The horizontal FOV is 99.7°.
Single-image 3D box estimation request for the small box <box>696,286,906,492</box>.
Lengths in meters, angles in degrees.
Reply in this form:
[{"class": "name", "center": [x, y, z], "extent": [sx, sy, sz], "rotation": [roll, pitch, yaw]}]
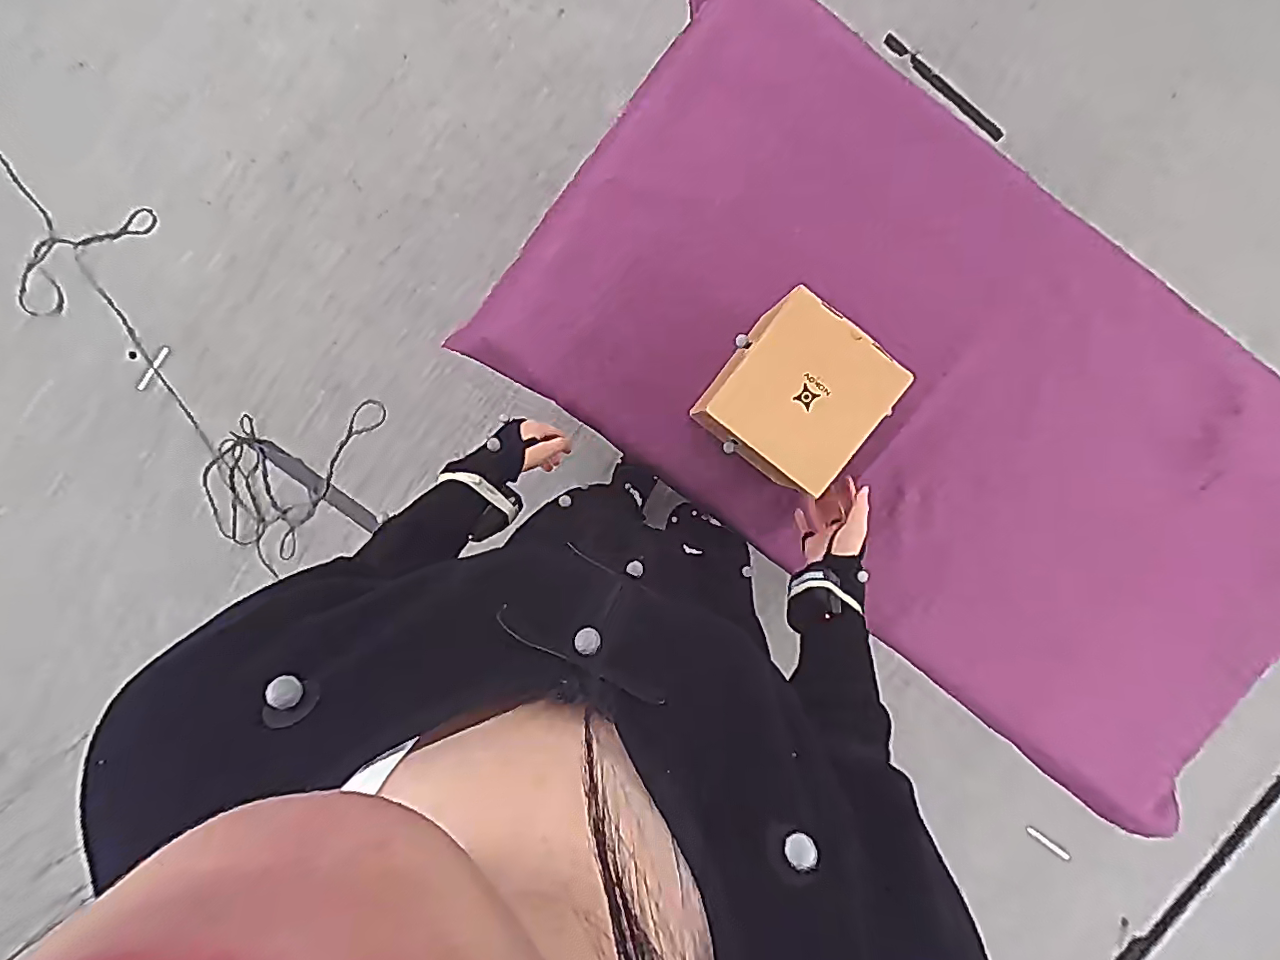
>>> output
[{"class": "small box", "center": [0.185, -0.106, 0.687], "extent": [0.168, 0.176, 0.179], "rotation": [38, 92, -4]}]
